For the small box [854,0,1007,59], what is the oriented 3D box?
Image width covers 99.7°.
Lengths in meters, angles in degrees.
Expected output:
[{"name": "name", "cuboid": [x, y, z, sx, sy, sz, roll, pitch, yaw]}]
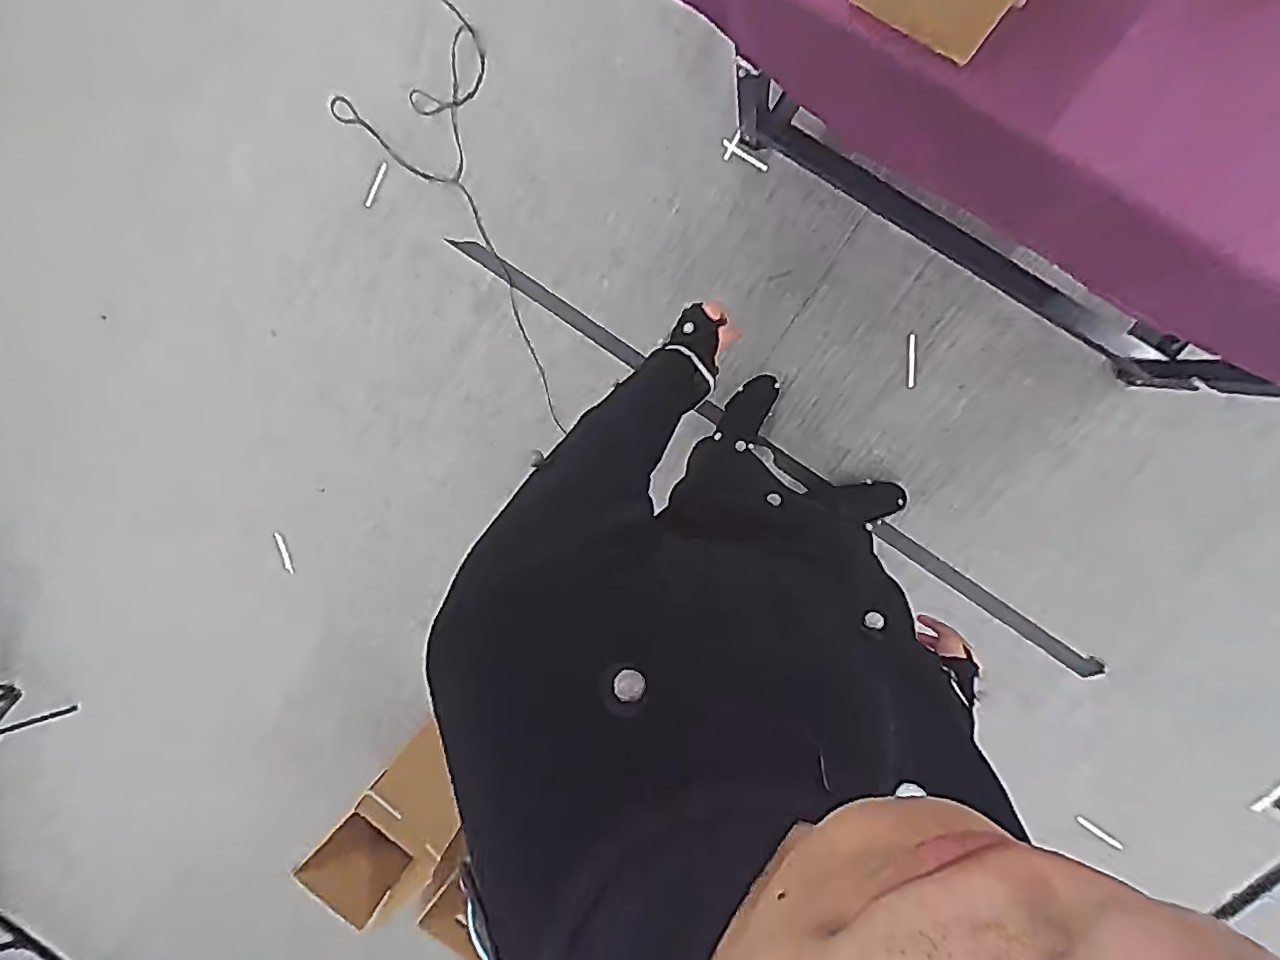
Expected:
[{"name": "small box", "cuboid": [0.366, -0.627, 0.603, 0.179, 0.176, 0.168, 33, 107, 2]}]
